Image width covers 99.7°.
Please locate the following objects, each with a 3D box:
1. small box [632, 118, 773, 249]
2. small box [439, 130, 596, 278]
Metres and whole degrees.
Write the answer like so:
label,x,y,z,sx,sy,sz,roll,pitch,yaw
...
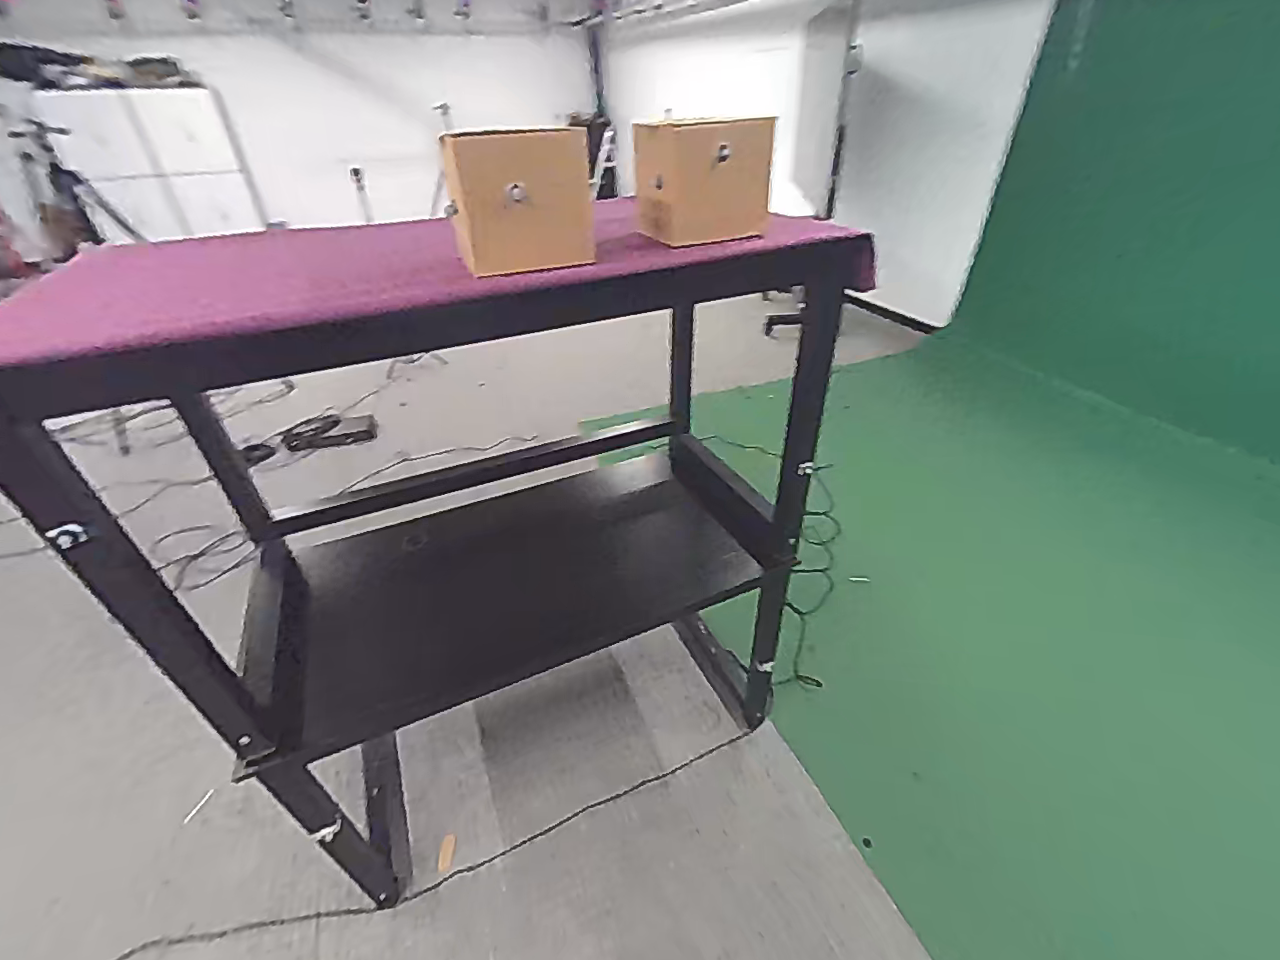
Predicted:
label,x,y,z,sx,sy,sz,roll,pitch,yaw
small box,0.100,-0.491,0.896,0.179,0.176,0.168,-14,36,-15
small box,-0.176,-0.403,0.788,0.179,0.176,0.168,-16,37,-17
